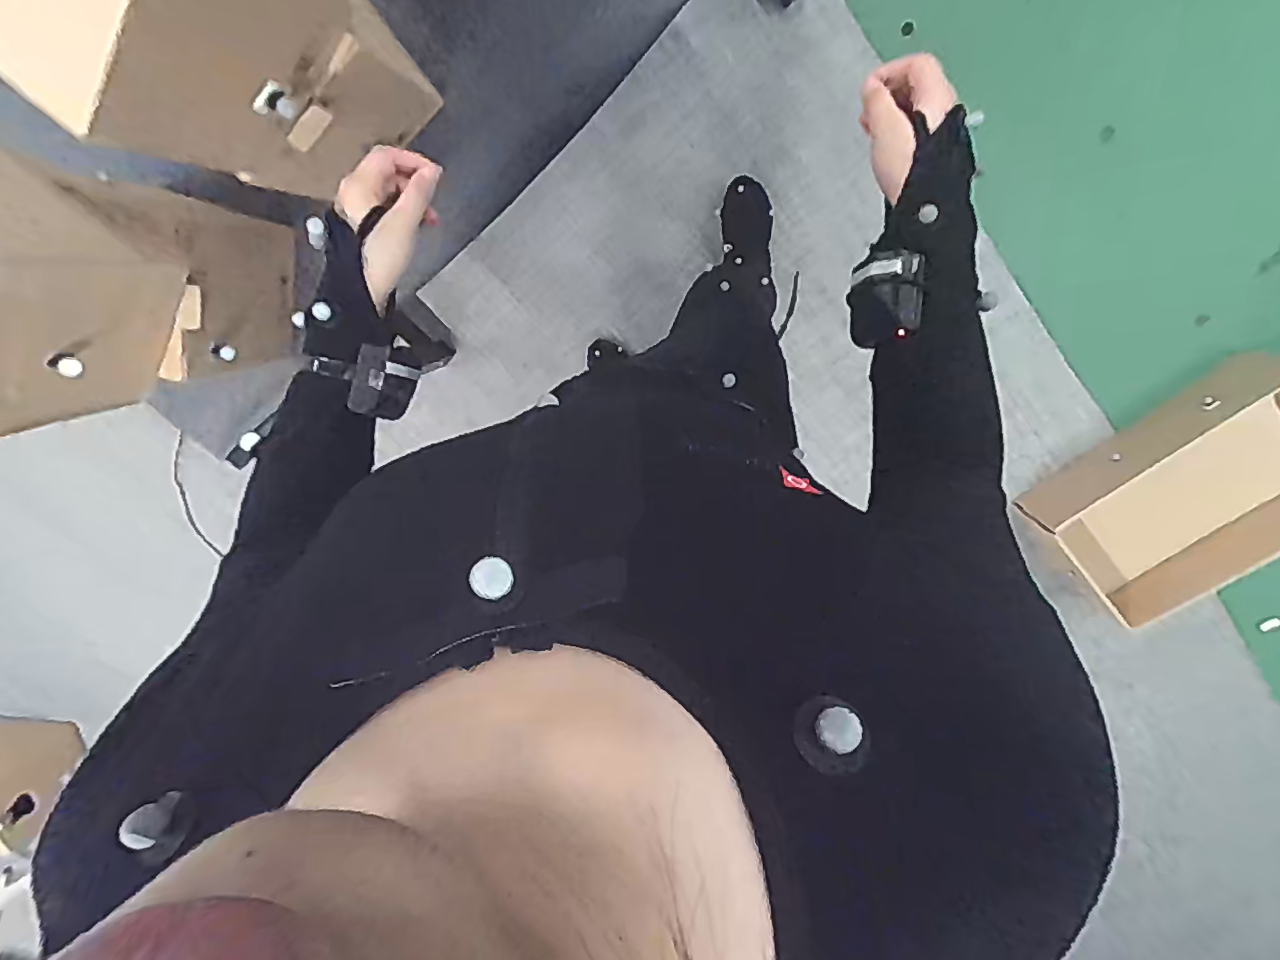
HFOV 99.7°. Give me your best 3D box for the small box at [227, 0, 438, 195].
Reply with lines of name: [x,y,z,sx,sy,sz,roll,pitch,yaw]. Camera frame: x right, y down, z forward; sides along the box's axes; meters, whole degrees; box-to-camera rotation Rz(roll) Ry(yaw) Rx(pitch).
small box: [-0.339,-0.410,0.526,0.168,0.176,0.179,-35,104,18]

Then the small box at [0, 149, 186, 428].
small box: [-0.549,-0.164,0.466,0.168,0.176,0.179,34,112,-8]

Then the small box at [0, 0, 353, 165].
small box: [-0.350,-0.353,0.374,0.179,0.176,0.168,39,111,-10]
